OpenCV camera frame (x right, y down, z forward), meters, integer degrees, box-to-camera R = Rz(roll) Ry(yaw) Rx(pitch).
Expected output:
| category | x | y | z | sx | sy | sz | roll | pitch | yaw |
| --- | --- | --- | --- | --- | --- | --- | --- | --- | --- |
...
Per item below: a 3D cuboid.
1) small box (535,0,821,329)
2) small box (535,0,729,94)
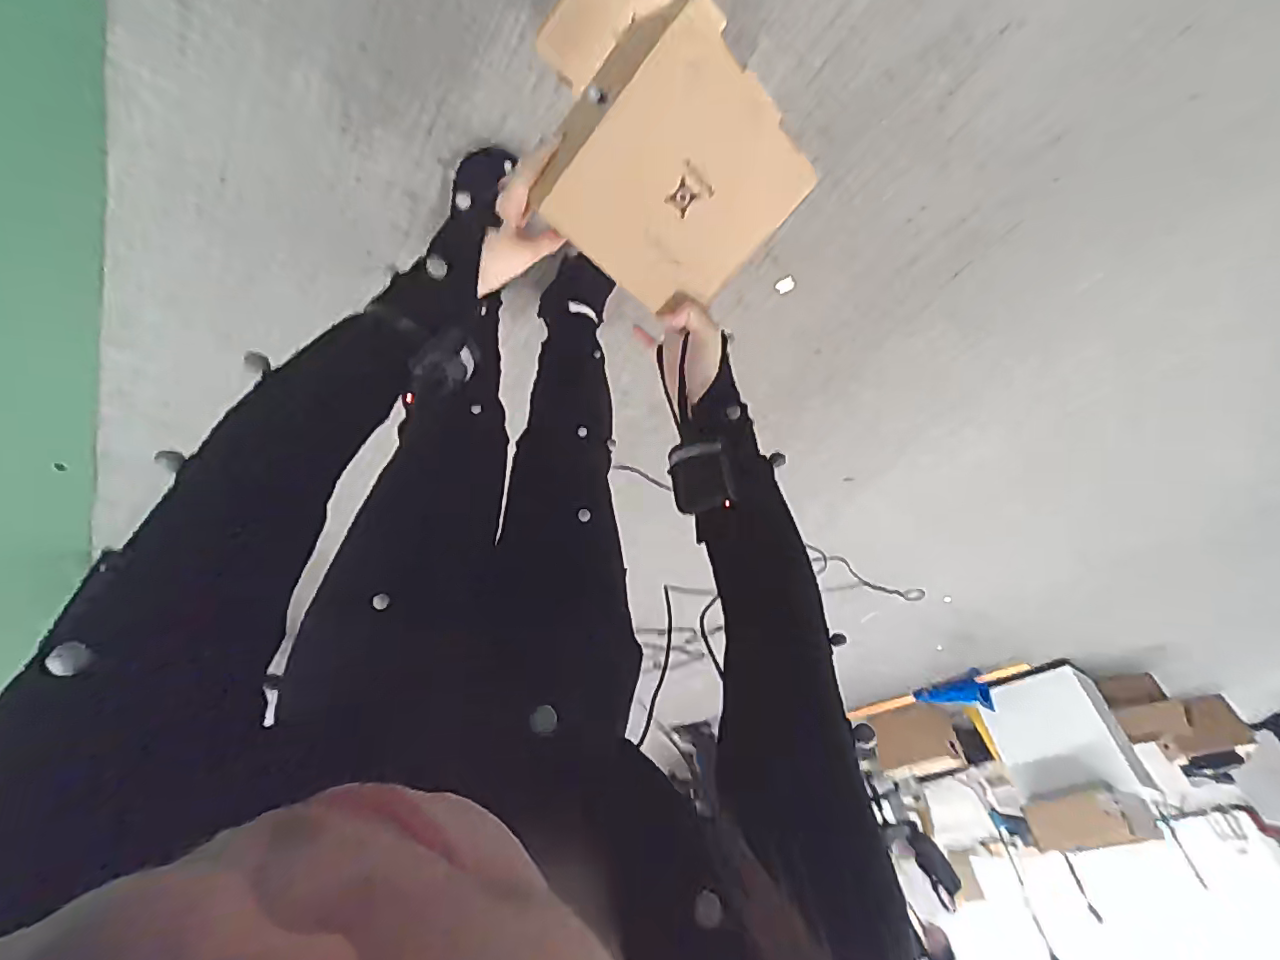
| category | x | y | z | sx | sy | sz | roll | pitch | yaw |
| --- | --- | --- | --- | --- | --- | --- | --- | --- | --- |
| small box | 0.018 | -0.278 | 0.490 | 0.168 | 0.176 | 0.179 | 33 | 111 | -32 |
| small box | -0.012 | -0.587 | 0.688 | 0.168 | 0.176 | 0.179 | 28 | 130 | -32 |
